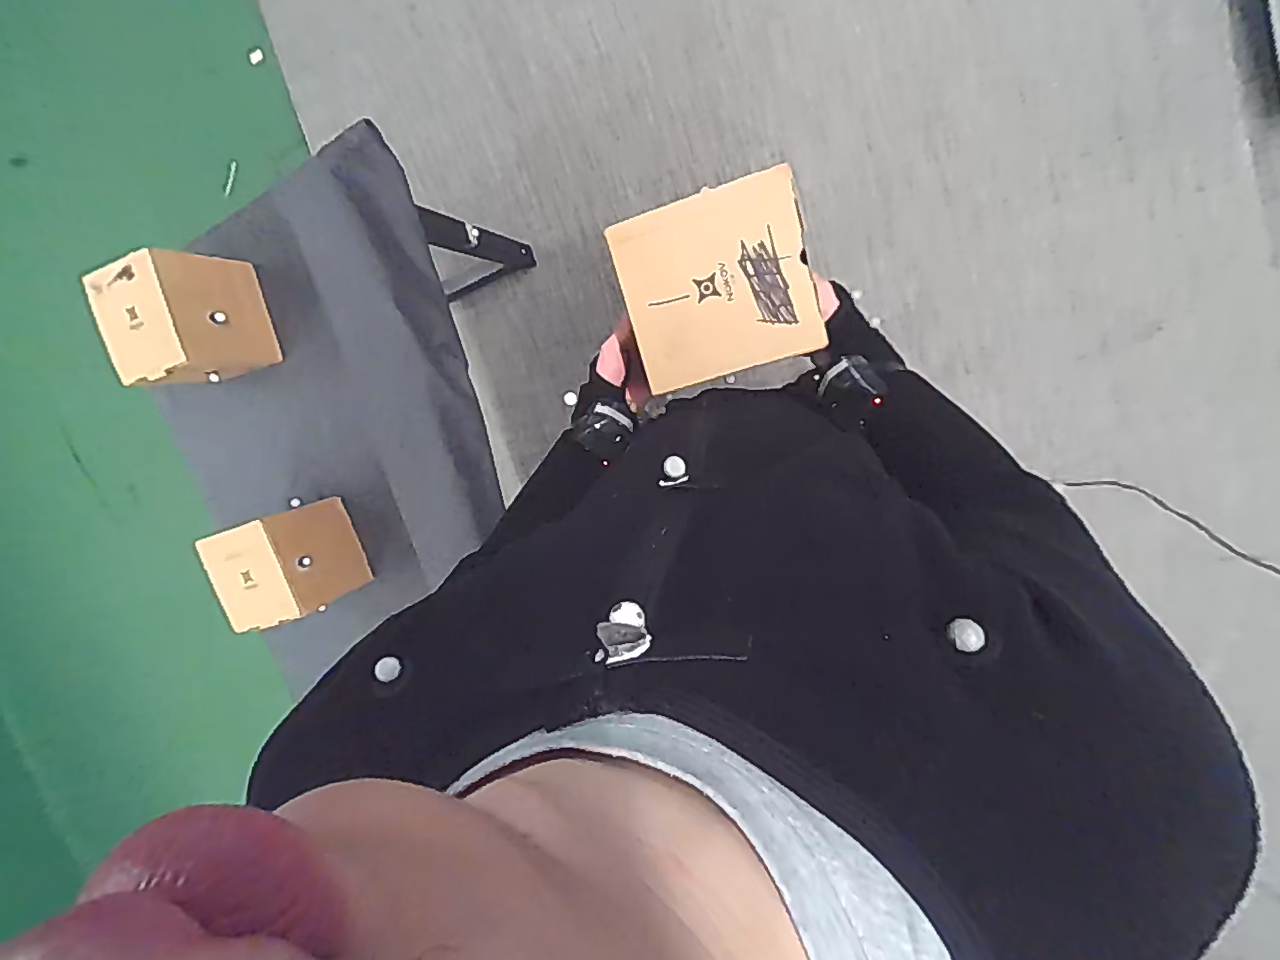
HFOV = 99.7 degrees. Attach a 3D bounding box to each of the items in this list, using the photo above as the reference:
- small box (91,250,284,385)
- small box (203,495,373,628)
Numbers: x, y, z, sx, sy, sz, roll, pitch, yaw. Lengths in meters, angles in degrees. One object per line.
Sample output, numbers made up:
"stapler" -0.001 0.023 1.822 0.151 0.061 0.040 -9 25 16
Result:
"small box" -0.756 -0.271 0.922 0.168 0.176 0.179 -9 101 18
"small box" -0.629 0.143 0.986 0.168 0.176 0.179 -16 96 19
